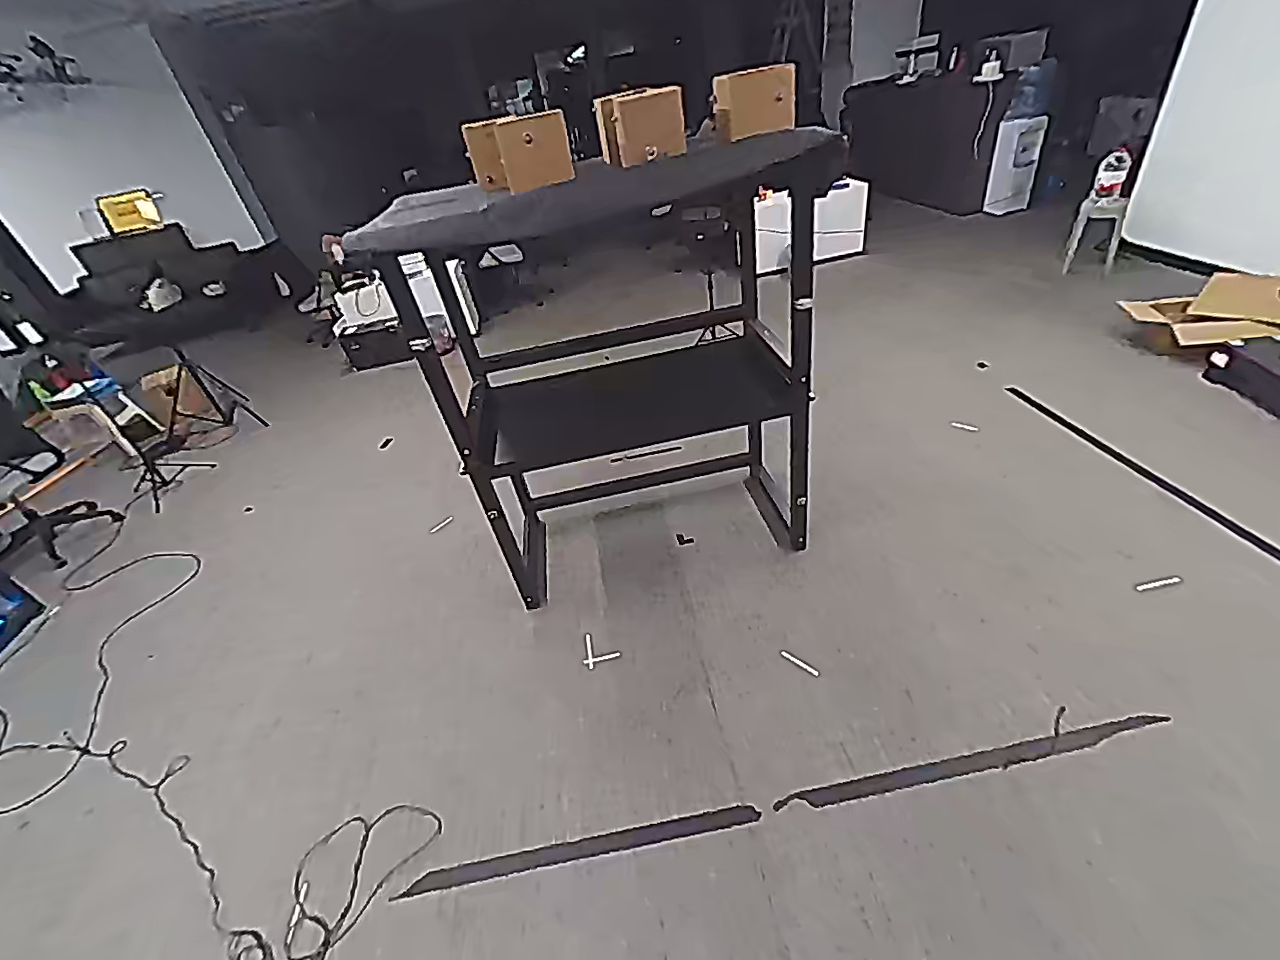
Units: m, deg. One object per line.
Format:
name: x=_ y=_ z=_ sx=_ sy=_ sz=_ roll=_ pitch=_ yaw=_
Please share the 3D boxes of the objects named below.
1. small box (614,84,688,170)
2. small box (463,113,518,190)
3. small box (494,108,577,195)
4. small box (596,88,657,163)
small box: x=0.030 y=-0.958 z=1.472 sx=0.168 sy=0.176 sz=0.179 roll=-12 pitch=36 yaw=0
small box: x=-0.426 y=-0.996 z=1.643 sx=0.168 sy=0.176 sz=0.179 roll=-15 pitch=37 yaw=-5
small box: x=-0.272 y=-0.874 z=1.441 sx=0.179 sy=0.176 sz=0.168 roll=-11 pitch=37 yaw=0
small box: x=-0.030 y=-1.092 z=1.663 sx=0.179 sy=0.176 sz=0.168 roll=-12 pitch=36 yaw=-2
